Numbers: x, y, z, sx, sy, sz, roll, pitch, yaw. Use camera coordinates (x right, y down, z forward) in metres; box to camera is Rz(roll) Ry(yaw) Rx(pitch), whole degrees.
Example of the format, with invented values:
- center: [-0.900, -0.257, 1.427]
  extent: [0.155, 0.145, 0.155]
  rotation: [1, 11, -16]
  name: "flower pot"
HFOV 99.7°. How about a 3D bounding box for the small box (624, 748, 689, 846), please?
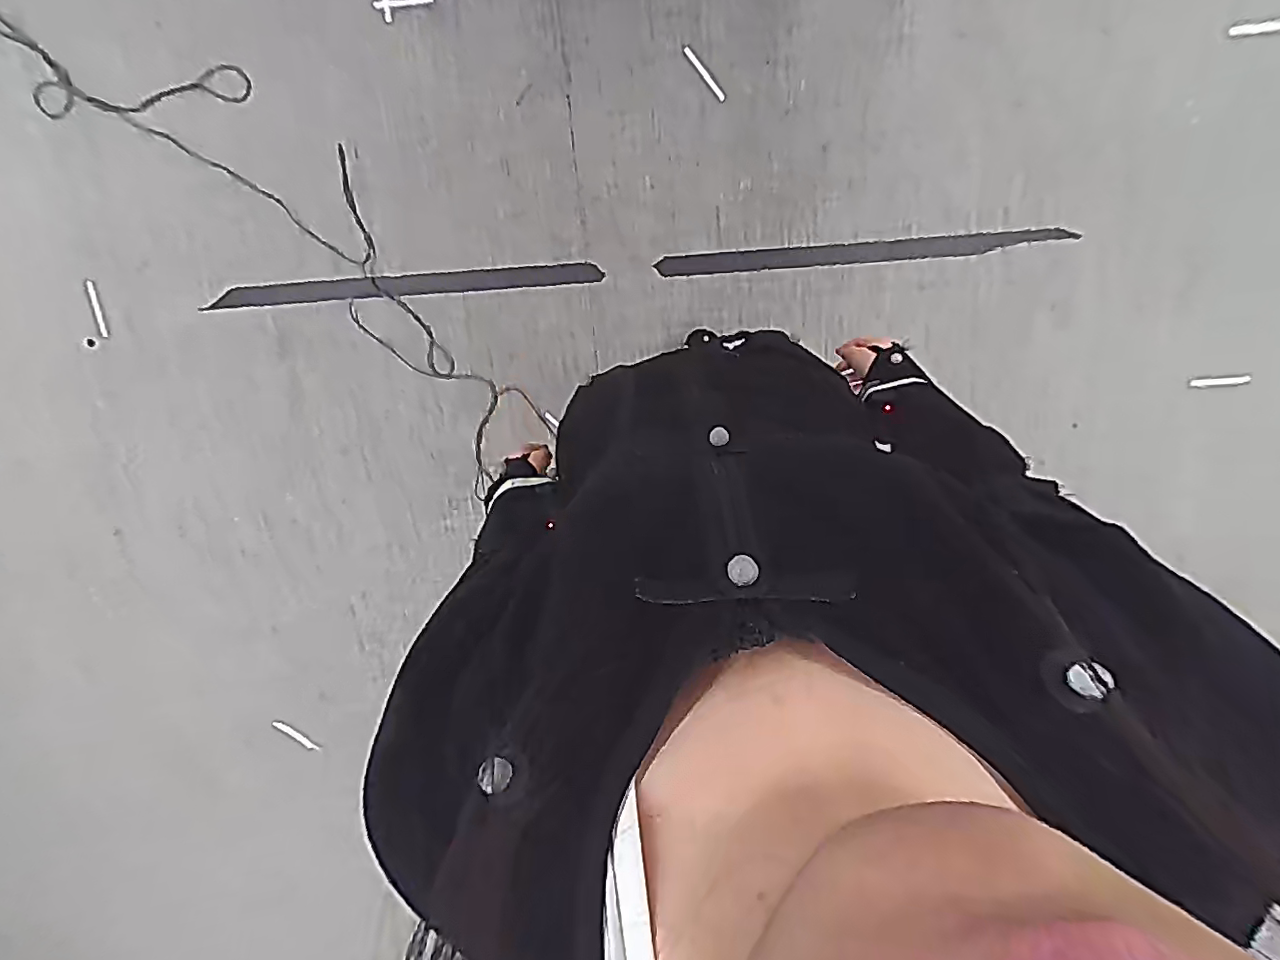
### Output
- center: [0.049, 0.935, 1.603]
  extent: [0.168, 0.176, 0.179]
  rotation: [-10, 104, 2]
  name: "small box"
